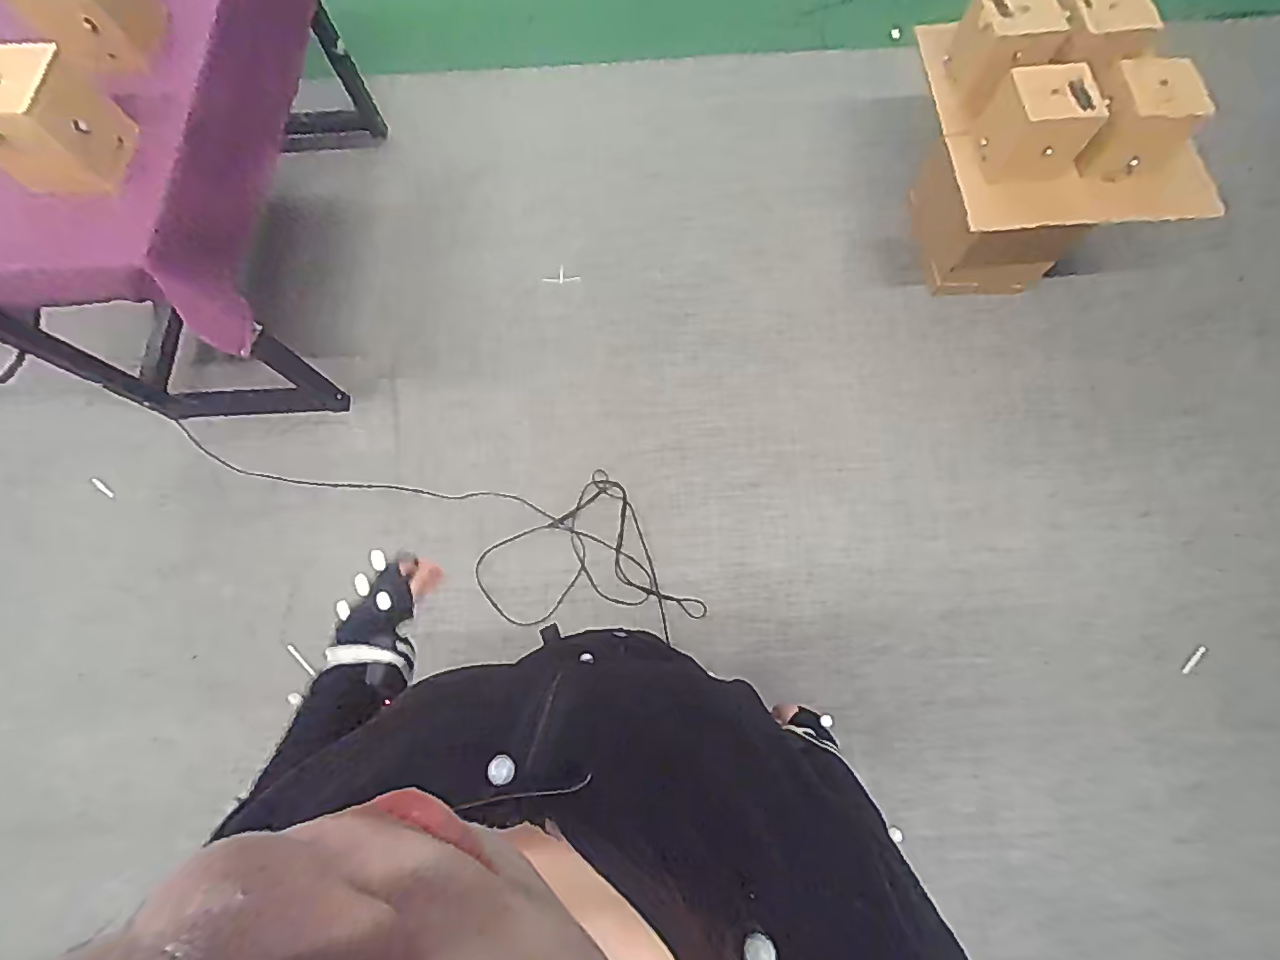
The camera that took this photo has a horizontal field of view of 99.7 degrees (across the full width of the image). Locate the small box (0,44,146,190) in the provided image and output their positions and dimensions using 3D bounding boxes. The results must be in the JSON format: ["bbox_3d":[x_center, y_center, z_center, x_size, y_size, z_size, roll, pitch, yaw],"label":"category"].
[{"bbox_3d":[-1.105,-0.676,1.022,0.179,0.176,0.168,1,73,4],"label":"small box"}]

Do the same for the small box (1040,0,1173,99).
[{"bbox_3d":[1.126,-1.077,1.331,0.179,0.176,0.168,-4,72,-1],"label":"small box"}]

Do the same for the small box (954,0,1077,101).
[{"bbox_3d":[0.911,-1.076,1.337,0.179,0.176,0.168,-7,73,0],"label":"small box"}]
